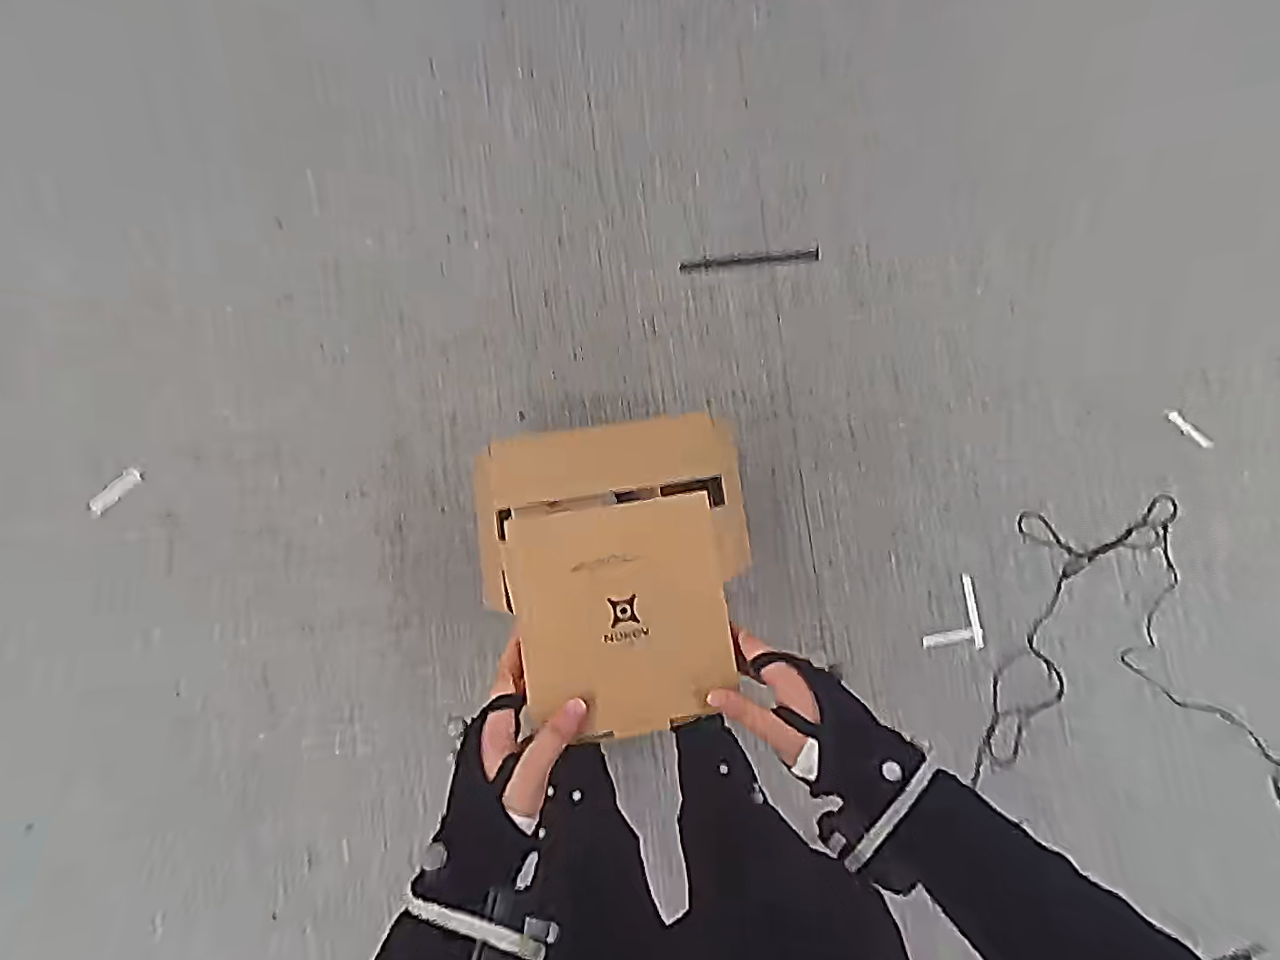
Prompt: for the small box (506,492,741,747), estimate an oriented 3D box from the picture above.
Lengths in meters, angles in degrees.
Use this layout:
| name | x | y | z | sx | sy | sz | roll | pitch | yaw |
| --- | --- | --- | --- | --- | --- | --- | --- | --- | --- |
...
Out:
| name | x | y | z | sx | sy | sz | roll | pitch | yaw |
| --- | --- | --- | --- | --- | --- | --- | --- | --- | --- |
| small box | -0.022 | 0.113 | 0.500 | 0.168 | 0.176 | 0.179 | -9 | 84 | -9 |
